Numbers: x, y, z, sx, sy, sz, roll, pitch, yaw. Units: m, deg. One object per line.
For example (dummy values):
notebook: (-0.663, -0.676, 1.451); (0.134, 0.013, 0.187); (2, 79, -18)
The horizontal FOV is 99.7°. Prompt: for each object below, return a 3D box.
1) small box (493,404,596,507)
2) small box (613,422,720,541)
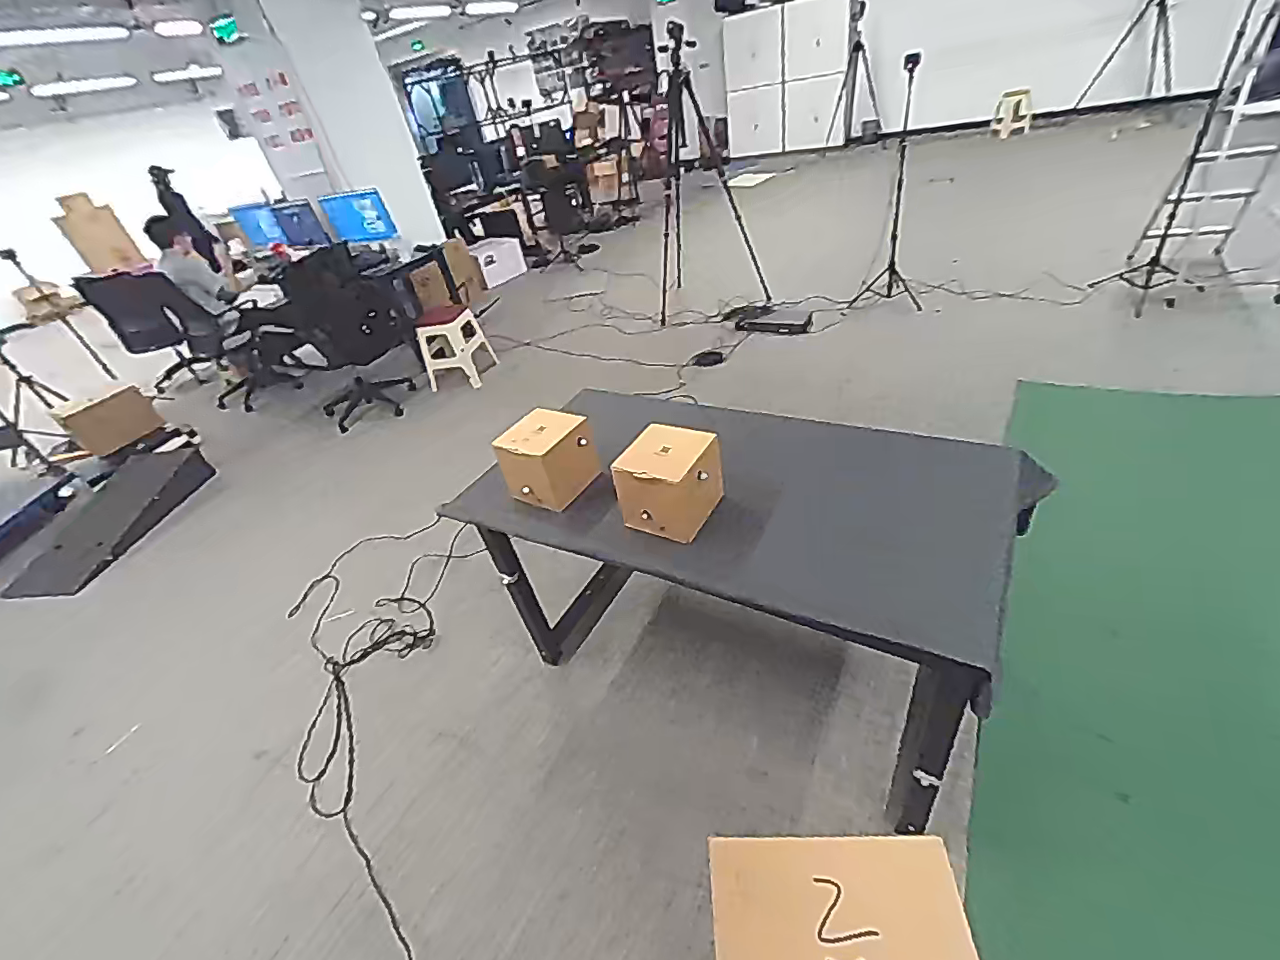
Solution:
small box: (-0.224, -0.062, 1.325); (0.168, 0.176, 0.179); (15, 44, 31)
small box: (0.065, 0.000, 1.173); (0.168, 0.176, 0.179); (15, 44, 30)
